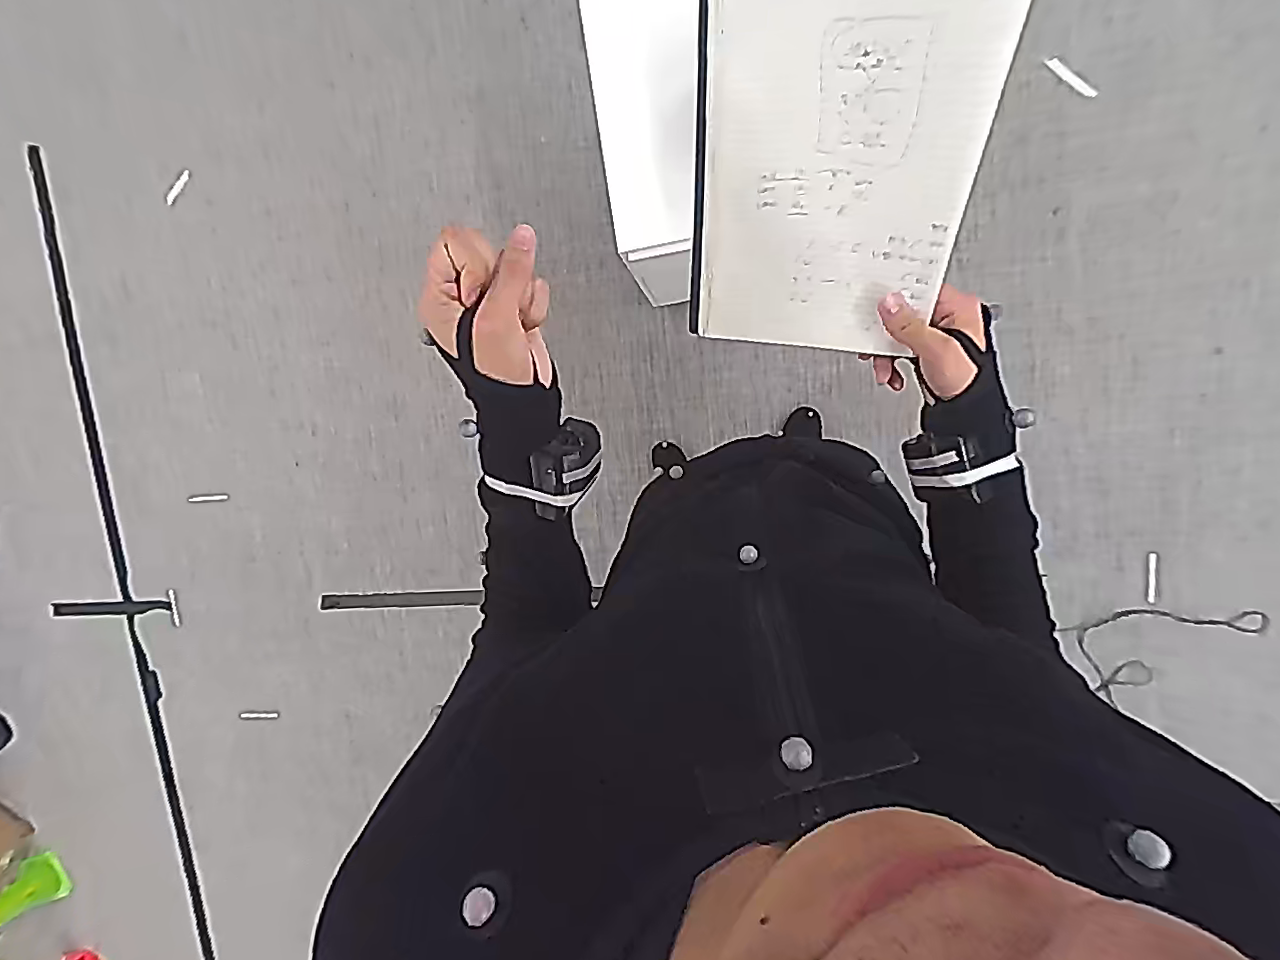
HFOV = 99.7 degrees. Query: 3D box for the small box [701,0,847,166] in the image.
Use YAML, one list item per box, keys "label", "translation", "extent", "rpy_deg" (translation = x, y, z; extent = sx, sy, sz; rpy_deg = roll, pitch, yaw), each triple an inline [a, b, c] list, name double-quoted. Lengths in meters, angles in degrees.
- label: "small box"
  translation: [0.202, -0.640, 0.855]
  extent: [0.179, 0.176, 0.168]
  rpy_deg: [-17, 94, 11]
